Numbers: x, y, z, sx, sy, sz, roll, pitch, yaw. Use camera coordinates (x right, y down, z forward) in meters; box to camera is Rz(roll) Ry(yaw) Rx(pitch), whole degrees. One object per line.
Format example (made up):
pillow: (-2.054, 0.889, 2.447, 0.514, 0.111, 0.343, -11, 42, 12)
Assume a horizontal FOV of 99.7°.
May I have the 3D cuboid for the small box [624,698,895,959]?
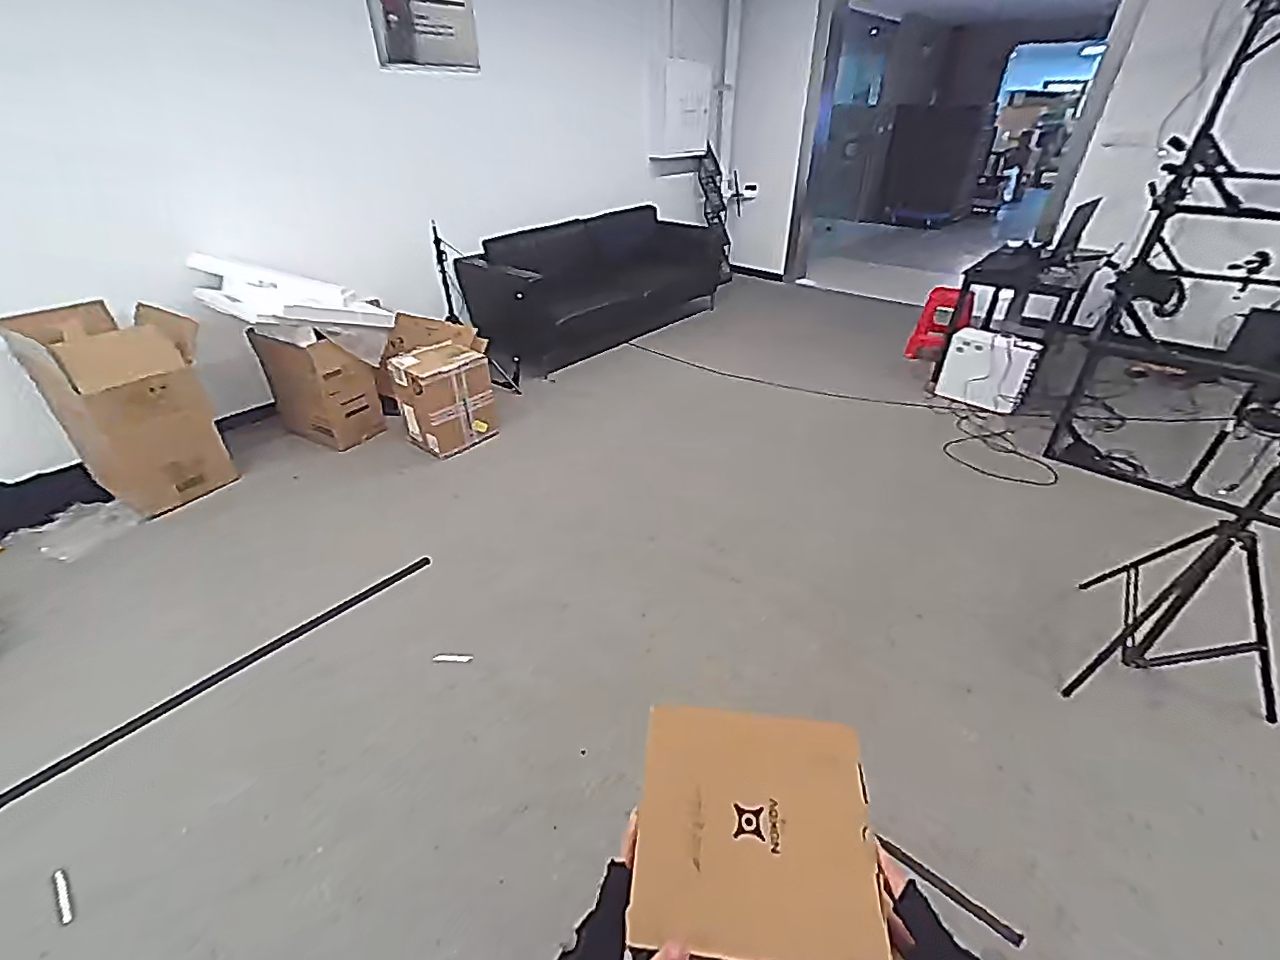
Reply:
small box: (0.087, 0.308, 0.459, 0.179, 0.176, 0.168, 2, 43, 6)
